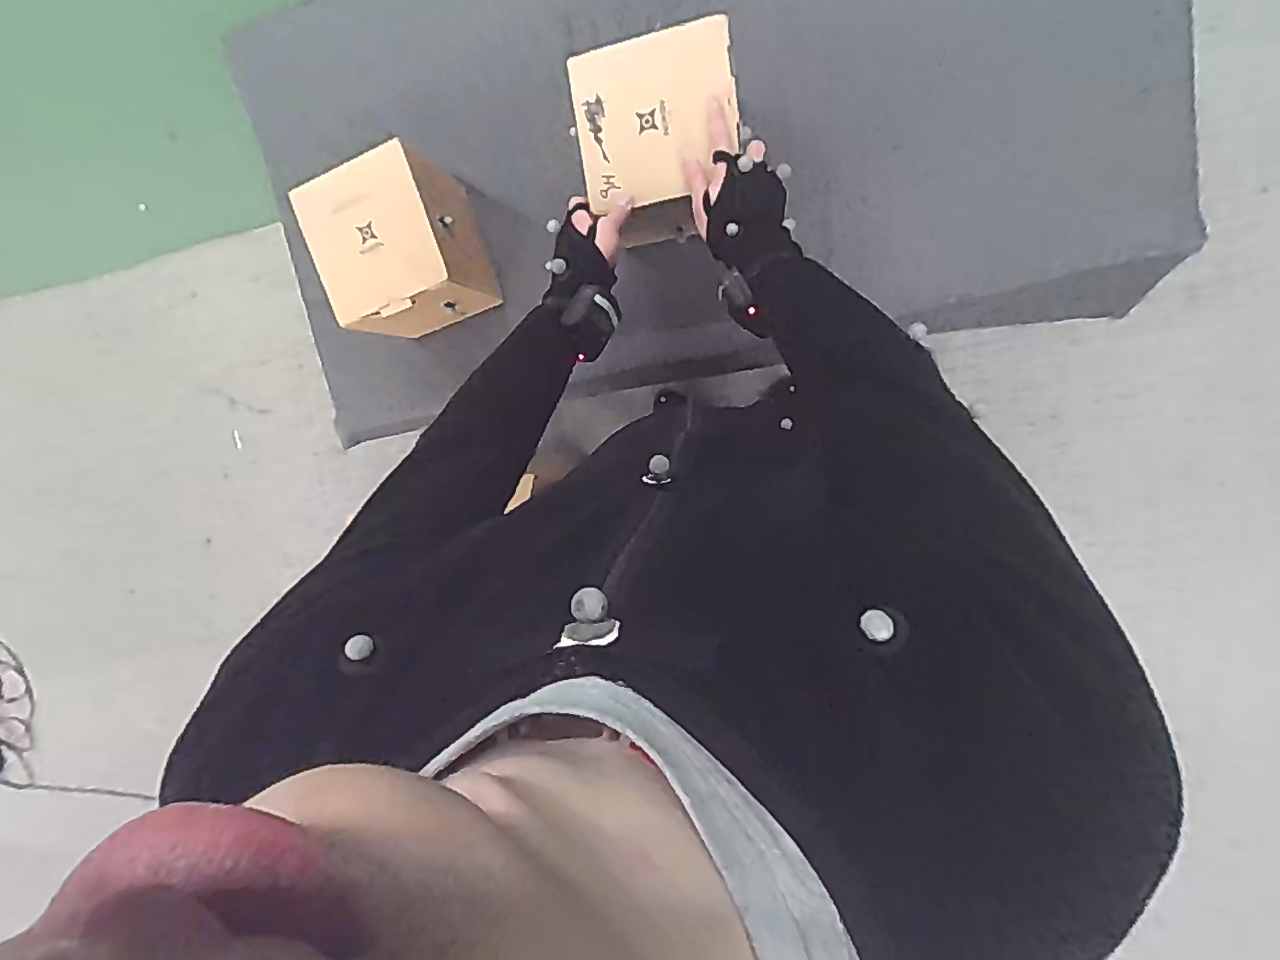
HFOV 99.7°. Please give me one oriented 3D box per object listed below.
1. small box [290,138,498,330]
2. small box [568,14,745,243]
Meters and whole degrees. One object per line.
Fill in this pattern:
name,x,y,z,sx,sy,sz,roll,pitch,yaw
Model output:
small box,-0.320,-0.315,0.741,0.168,0.176,0.179,-18,95,12
small box,0.029,-0.405,0.658,0.179,0.176,0.168,-7,100,11
